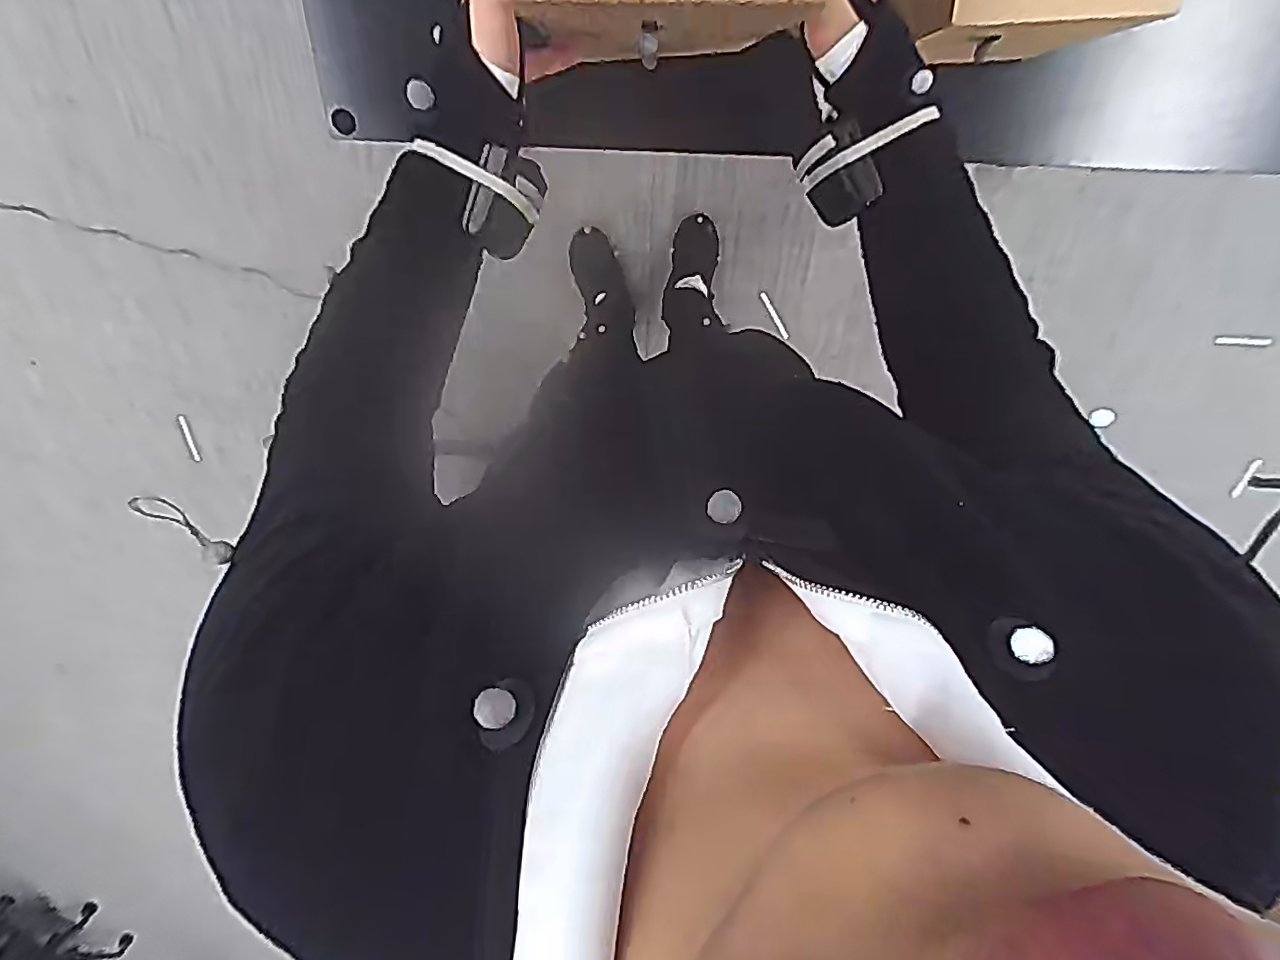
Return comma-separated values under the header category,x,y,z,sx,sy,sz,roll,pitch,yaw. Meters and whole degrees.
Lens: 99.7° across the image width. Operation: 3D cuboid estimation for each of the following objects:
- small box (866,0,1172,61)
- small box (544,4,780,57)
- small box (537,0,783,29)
category,x,y,z,sx,sy,sz,roll,pitch,yaw
small box,0.304,-0.456,0.434,0.179,0.176,0.168,-3,119,1
small box,0.011,-0.448,0.423,0.179,0.176,0.168,-3,122,1
small box,0.013,-0.360,0.283,0.168,0.176,0.179,0,123,-2
